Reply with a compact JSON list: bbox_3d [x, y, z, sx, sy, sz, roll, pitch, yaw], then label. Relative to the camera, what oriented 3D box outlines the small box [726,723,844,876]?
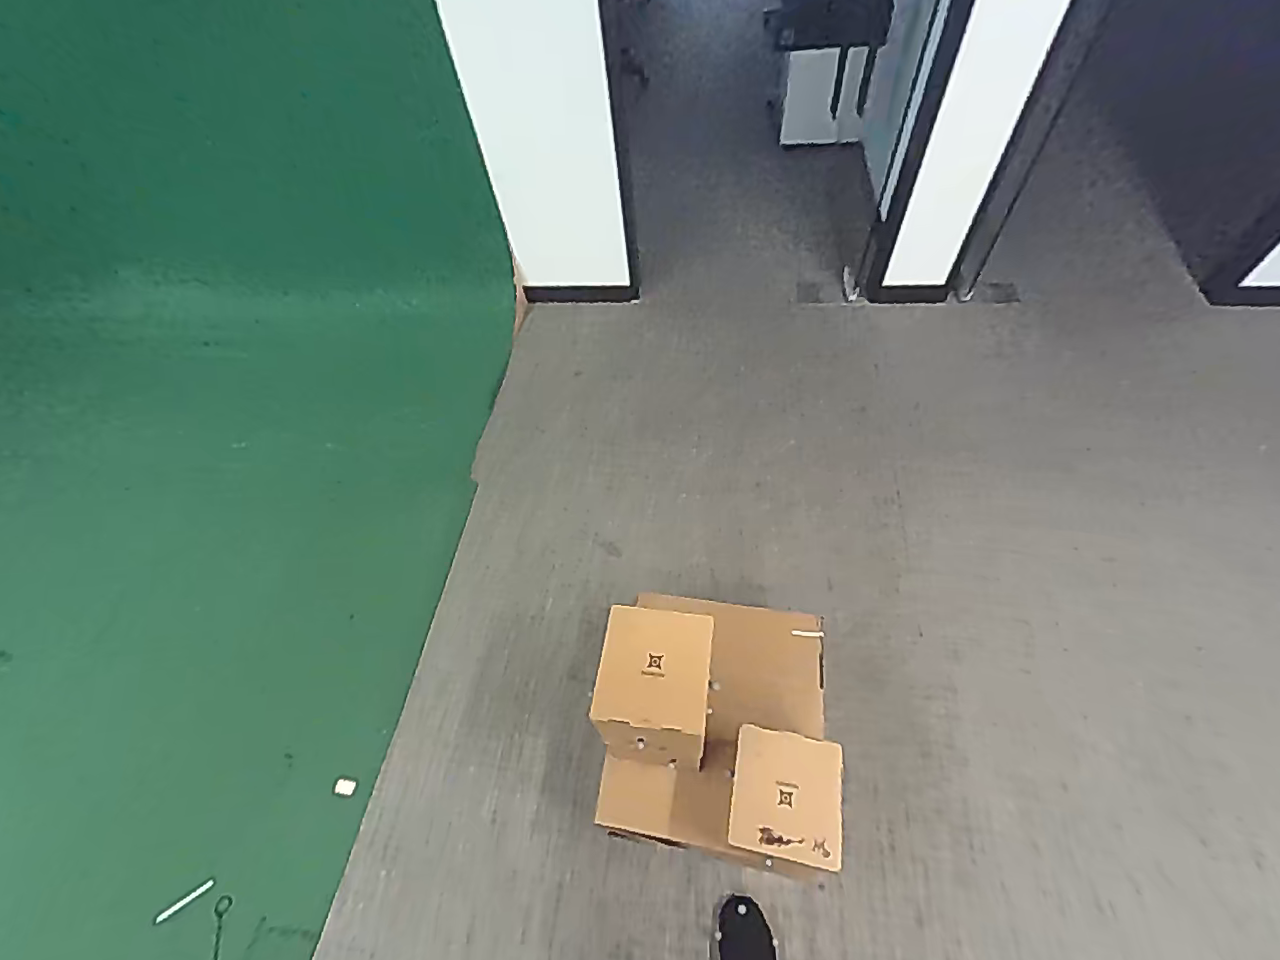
[{"bbox_3d":[0.235,0.530,0.896,0.168,0.176,0.179,7,54,11],"label":"small box"}]

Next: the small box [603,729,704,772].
[{"bbox_3d":[0.041,0.423,0.999,0.168,0.176,0.179,6,54,10],"label":"small box"}]

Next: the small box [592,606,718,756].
[{"bbox_3d":[0.032,0.324,0.868,0.168,0.176,0.179,6,57,10],"label":"small box"}]
